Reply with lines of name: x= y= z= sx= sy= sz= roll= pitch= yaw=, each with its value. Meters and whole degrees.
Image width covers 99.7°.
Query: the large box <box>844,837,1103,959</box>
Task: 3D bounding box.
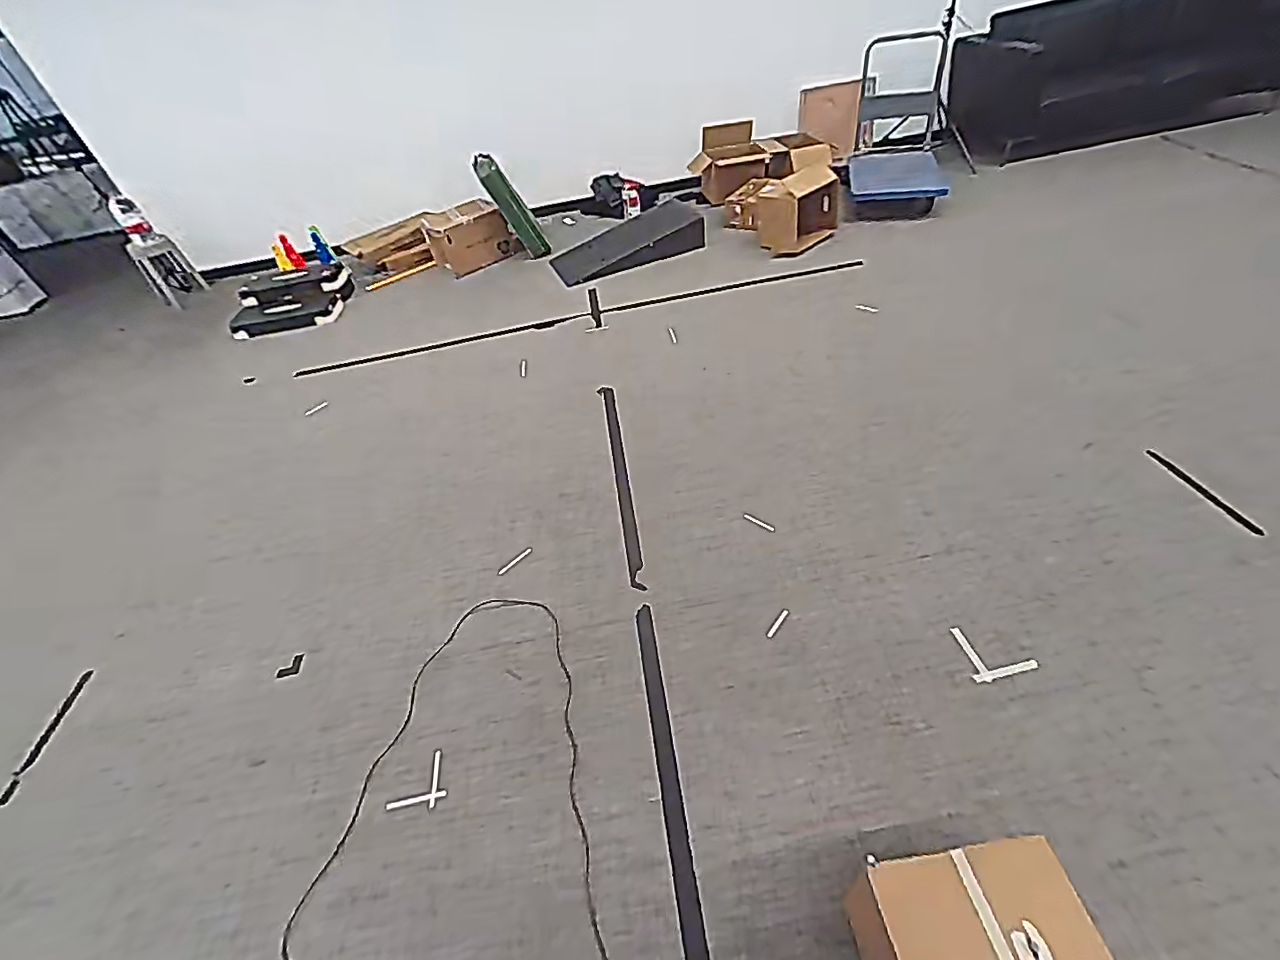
large box: x=0.580 y=0.889 z=0.897 sx=0.320 sy=0.320 sz=0.408 roll=-9 pitch=42 yaw=-1
